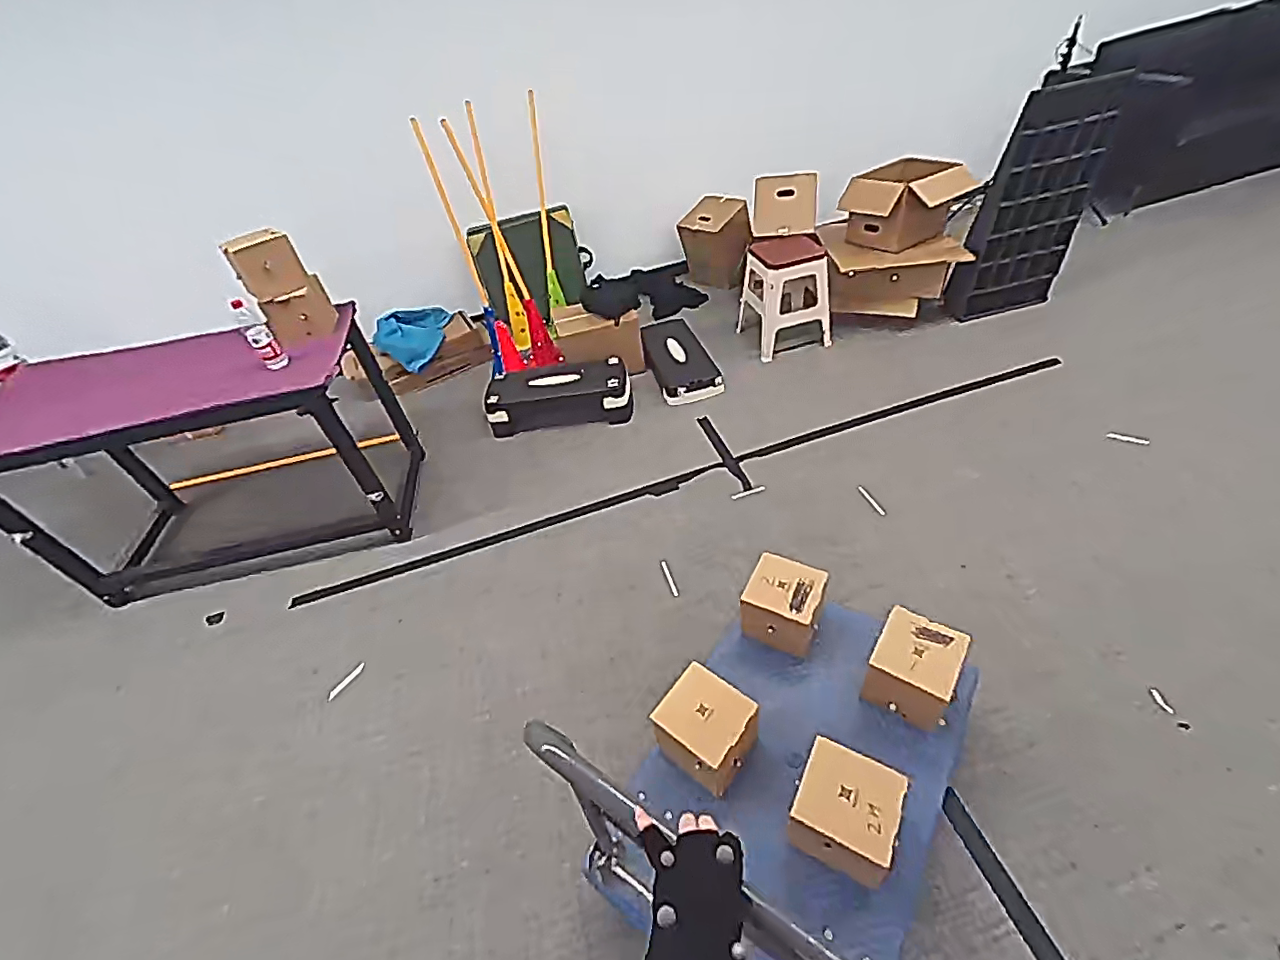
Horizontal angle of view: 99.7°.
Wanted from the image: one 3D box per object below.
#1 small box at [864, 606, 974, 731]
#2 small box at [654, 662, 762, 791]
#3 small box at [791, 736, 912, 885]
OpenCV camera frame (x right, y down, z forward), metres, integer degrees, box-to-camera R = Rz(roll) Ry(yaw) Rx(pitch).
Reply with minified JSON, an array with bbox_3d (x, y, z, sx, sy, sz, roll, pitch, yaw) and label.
[{"bbox_3d":[0.631,0.431,1.237,0.168,0.176,0.179,22,53,31],"label":"small box"},{"bbox_3d":[0.153,0.552,1.206,0.179,0.176,0.168,27,54,32],"label":"small box"},{"bbox_3d":[0.404,0.645,1.054,0.179,0.176,0.168,17,50,28],"label":"small box"}]
